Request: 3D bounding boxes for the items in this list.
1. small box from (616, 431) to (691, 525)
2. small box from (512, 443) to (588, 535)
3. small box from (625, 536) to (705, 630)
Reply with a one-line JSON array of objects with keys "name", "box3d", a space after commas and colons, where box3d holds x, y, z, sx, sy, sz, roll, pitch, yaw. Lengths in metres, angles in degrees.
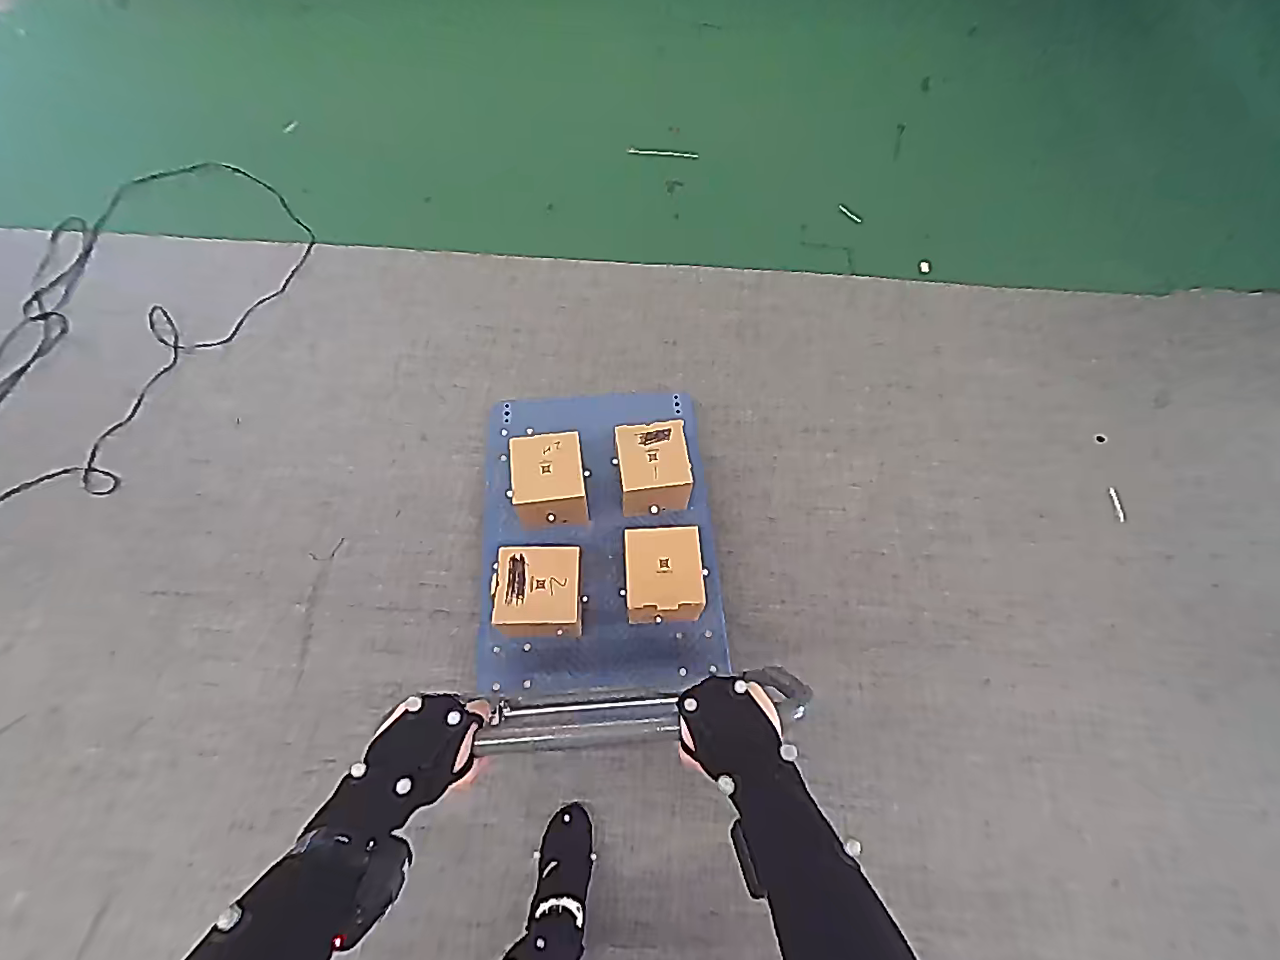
[{"name": "small box", "box3d": [0.029, -0.002, 1.370, 0.168, 0.176, 0.179, -7, 65, -4]}, {"name": "small box", "box3d": [-0.220, 0.029, 1.349, 0.168, 0.176, 0.179, -6, 64, -5]}, {"name": "small box", "box3d": [0.050, 0.241, 1.252, 0.168, 0.176, 0.179, -2, 64, -3]}]
